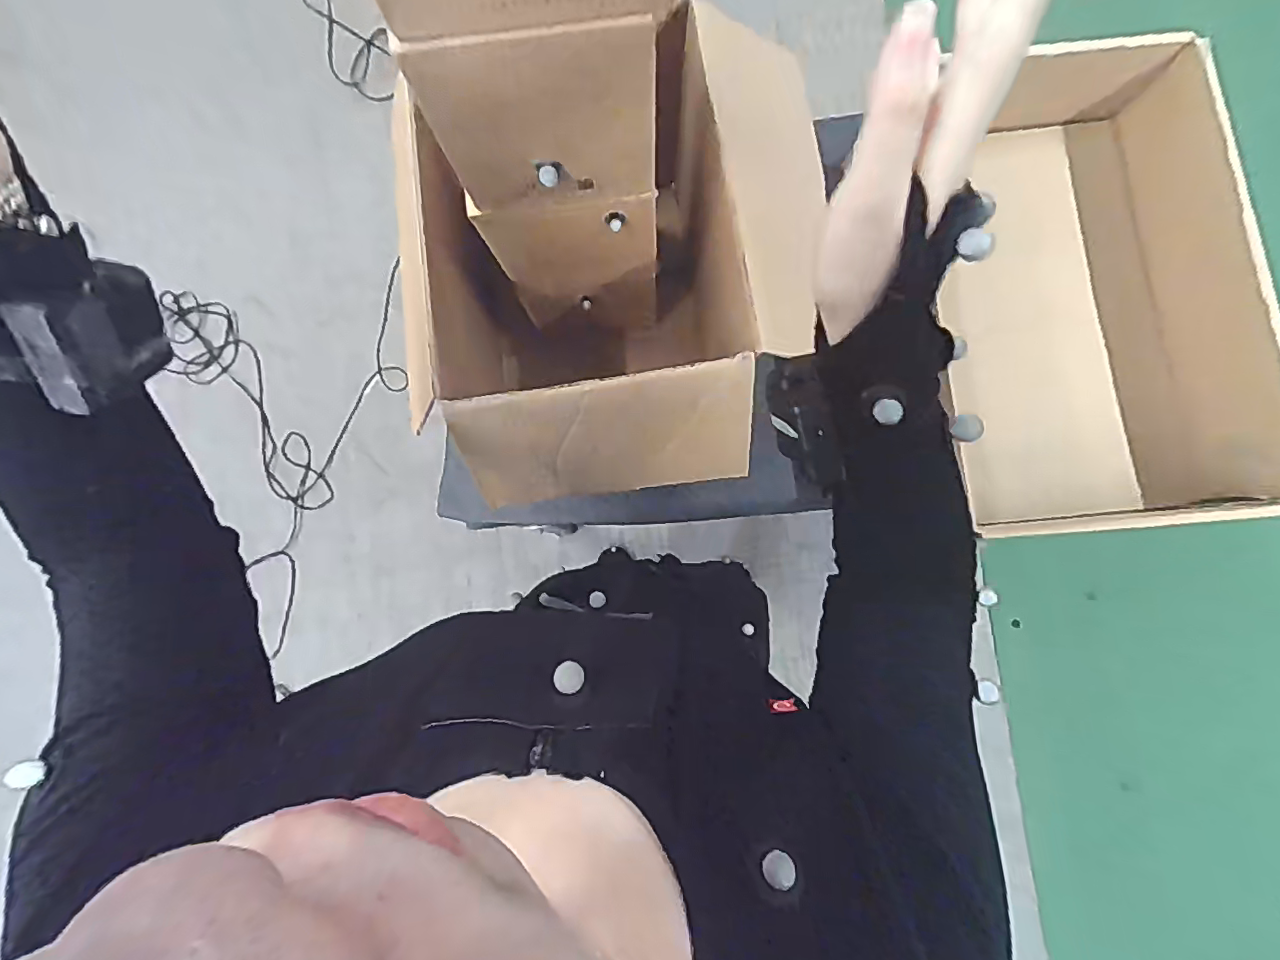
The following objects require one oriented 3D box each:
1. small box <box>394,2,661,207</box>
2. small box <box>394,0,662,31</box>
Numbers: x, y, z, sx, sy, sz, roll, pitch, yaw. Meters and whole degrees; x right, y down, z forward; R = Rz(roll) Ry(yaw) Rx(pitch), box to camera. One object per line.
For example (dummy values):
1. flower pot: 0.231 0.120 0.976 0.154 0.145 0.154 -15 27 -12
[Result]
1. small box: -0.075 -0.347 0.420 0.168 0.176 0.179 -6 86 1
2. small box: -0.069 -0.362 0.256 0.179 0.176 0.168 -5 86 1
